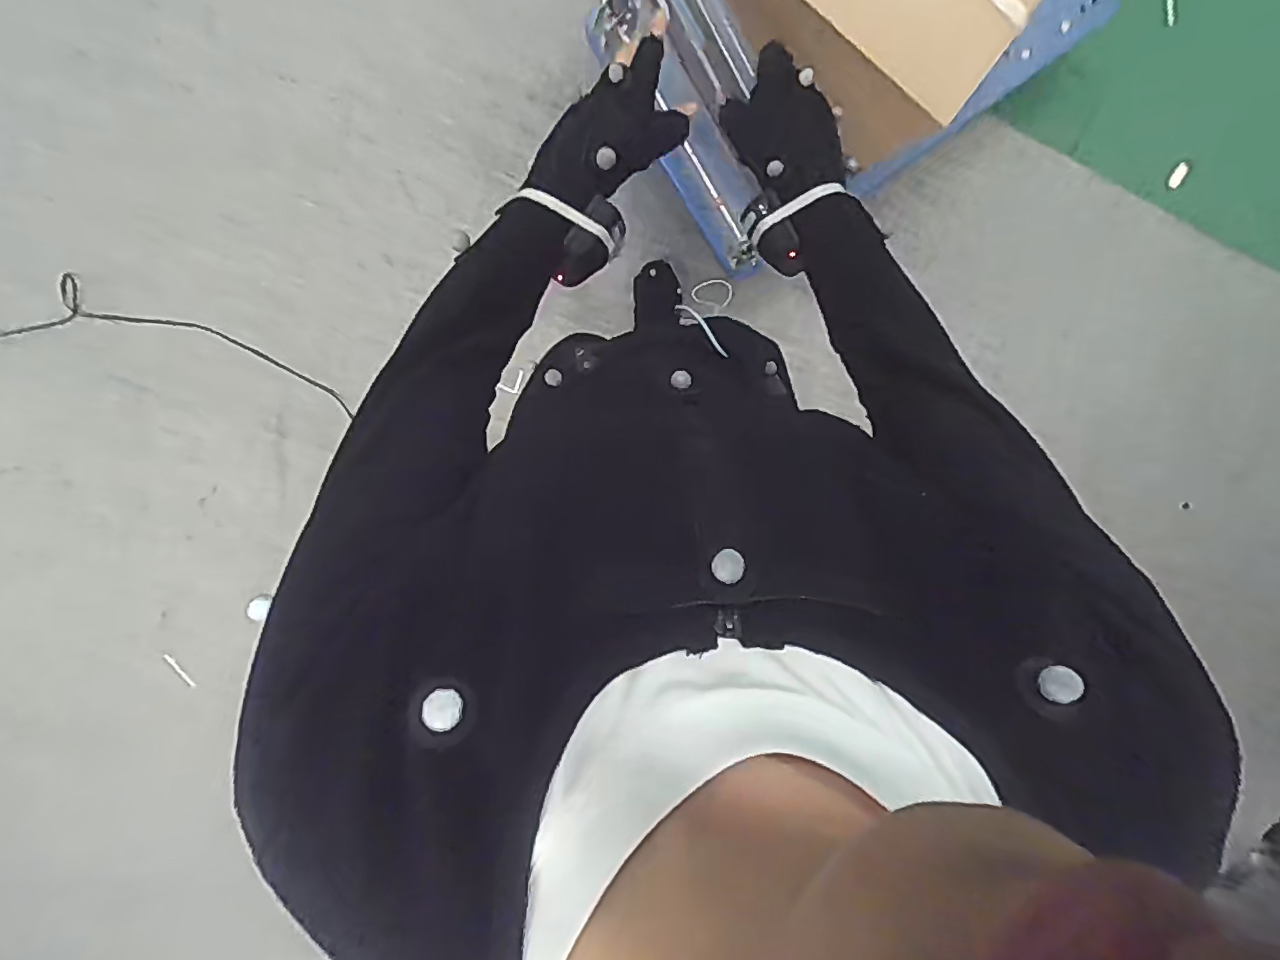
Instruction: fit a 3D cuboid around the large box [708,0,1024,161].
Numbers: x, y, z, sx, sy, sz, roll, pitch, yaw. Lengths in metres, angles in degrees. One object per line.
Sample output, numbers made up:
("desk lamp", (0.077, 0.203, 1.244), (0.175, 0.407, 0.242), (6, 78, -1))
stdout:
("large box", (0.374, -0.818, 0.894), (0.408, 0.320, 0.320), (32, 105, -11))
